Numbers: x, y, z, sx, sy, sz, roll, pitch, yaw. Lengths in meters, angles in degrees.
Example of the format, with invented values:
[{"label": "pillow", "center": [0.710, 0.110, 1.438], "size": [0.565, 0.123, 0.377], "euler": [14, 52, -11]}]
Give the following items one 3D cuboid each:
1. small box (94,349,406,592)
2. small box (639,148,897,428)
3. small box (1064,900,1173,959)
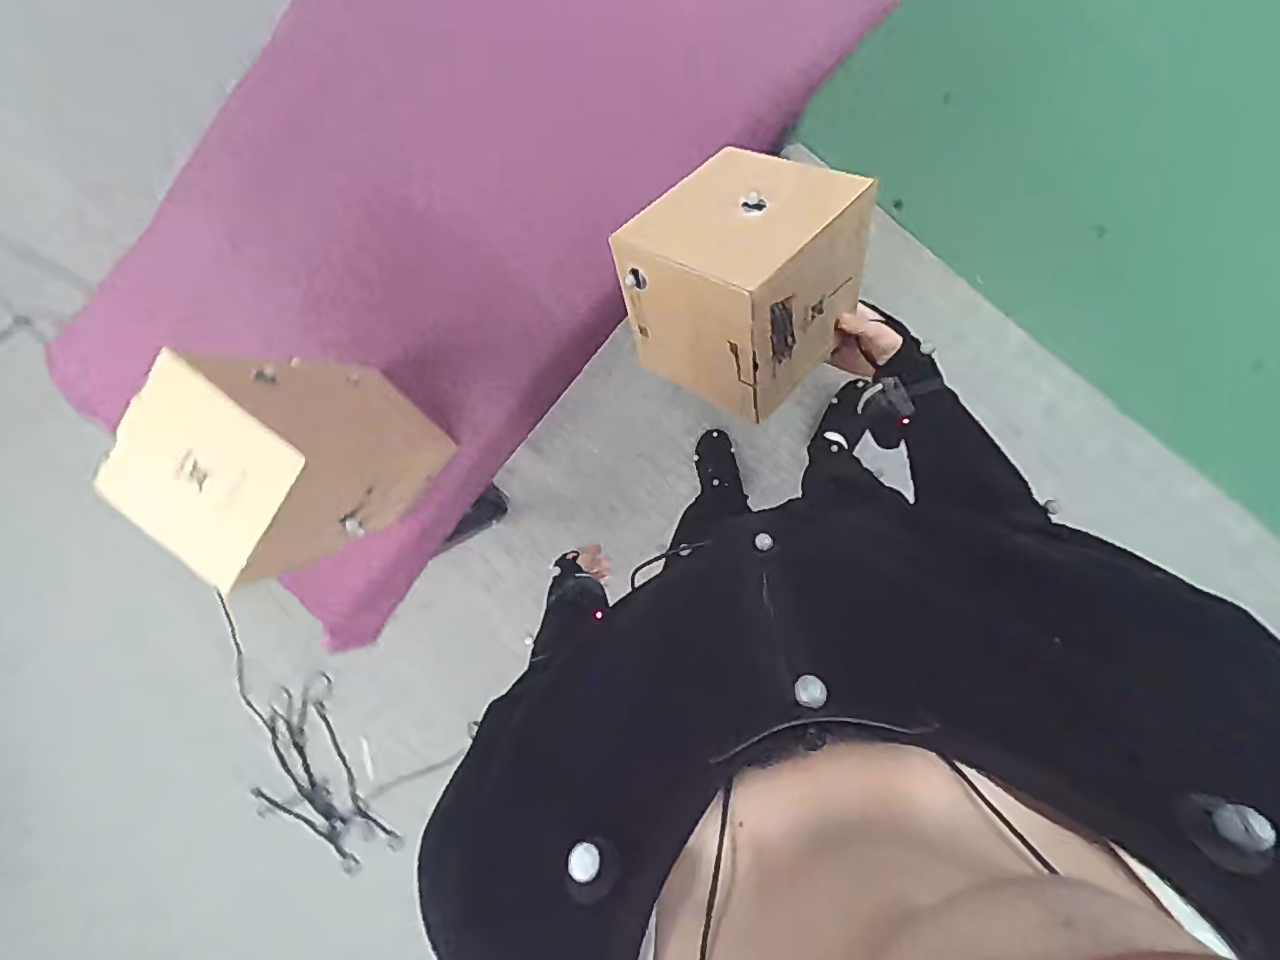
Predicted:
[{"label": "small box", "center": [-0.399, -0.014, 0.581], "size": [0.179, 0.176, 0.168], "euler": [37, 100, 2]}, {"label": "small box", "center": [0.114, -0.191, 0.532], "size": [0.176, 0.168, 0.179], "euler": [35, 70, 29]}, {"label": "small box", "center": [1.289, 1.266, 1.429], "size": [0.179, 0.176, 0.168], "euler": [44, 101, -1]}]
